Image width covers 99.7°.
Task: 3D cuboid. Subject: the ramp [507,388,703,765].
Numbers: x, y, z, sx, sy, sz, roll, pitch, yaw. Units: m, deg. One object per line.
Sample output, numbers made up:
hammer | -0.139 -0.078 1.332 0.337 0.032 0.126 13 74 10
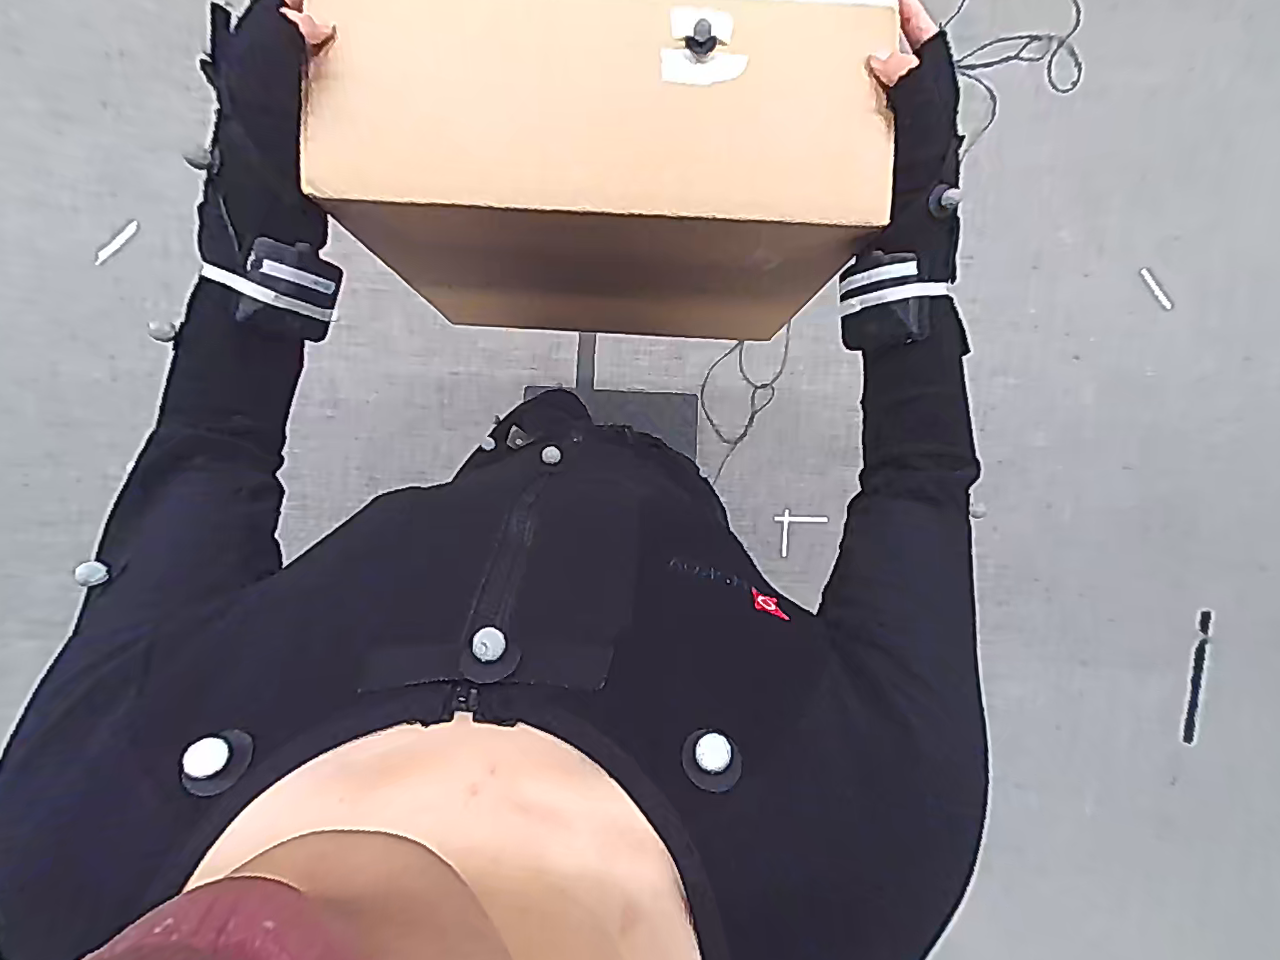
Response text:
ramp | -0.086 0.239 1.474 0.509 0.206 0.991 1 93 1

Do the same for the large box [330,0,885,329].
large box | -0.024 -0.349 0.538 0.408 0.320 0.320 2 90 -2
